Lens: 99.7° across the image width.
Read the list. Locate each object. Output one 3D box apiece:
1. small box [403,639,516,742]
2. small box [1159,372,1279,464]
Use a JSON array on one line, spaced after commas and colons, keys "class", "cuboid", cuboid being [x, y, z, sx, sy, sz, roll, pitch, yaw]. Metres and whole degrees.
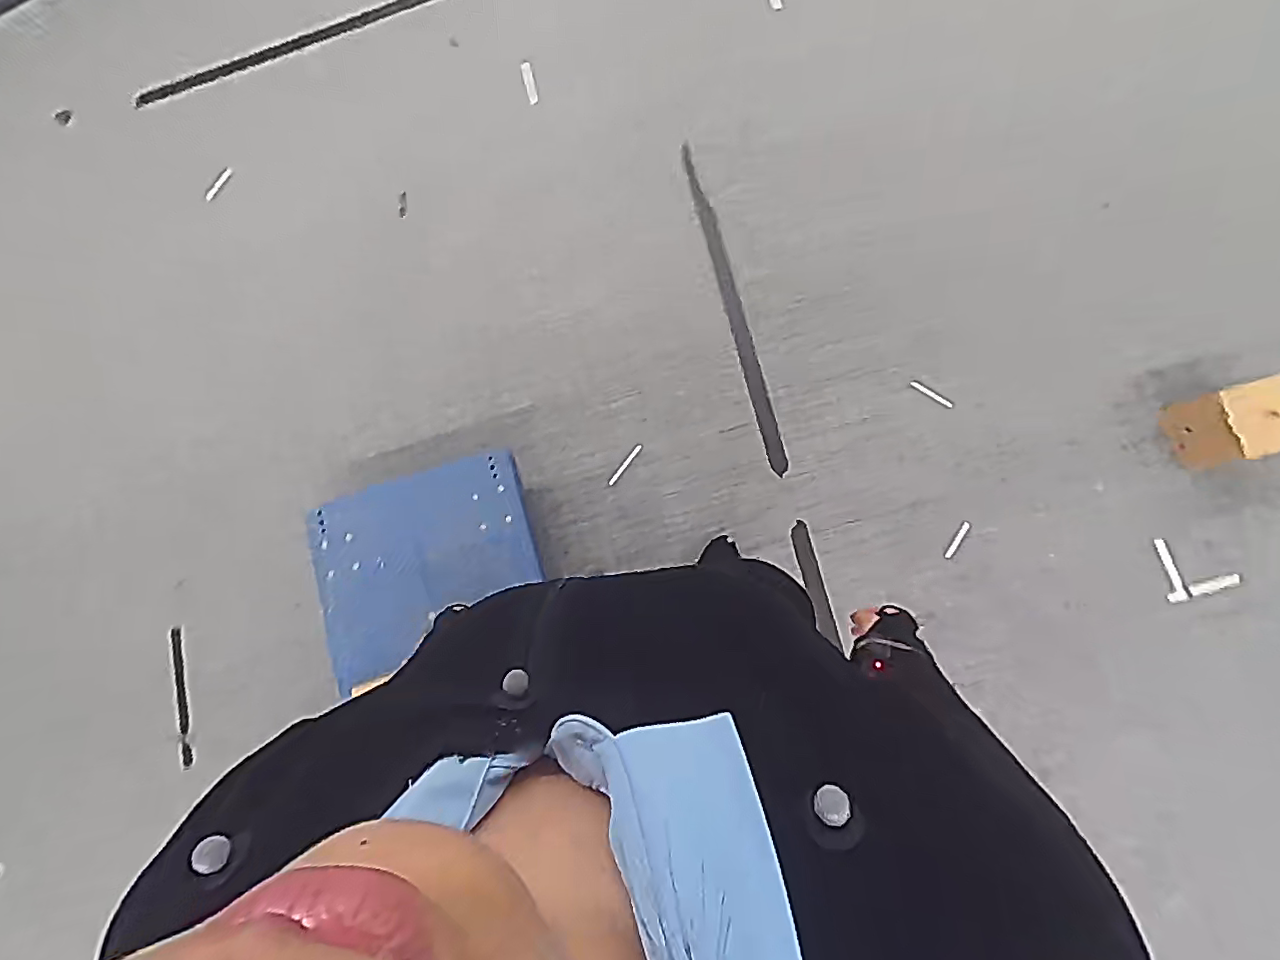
[{"class": "small box", "cuboid": [-0.404, 0.471, 1.230, 0.179, 0.176, 0.168, -14, 82, 3]}, {"class": "small box", "cuboid": [1.447, -0.148, 1.316, 0.179, 0.176, 0.168, -18, 81, 4]}]
